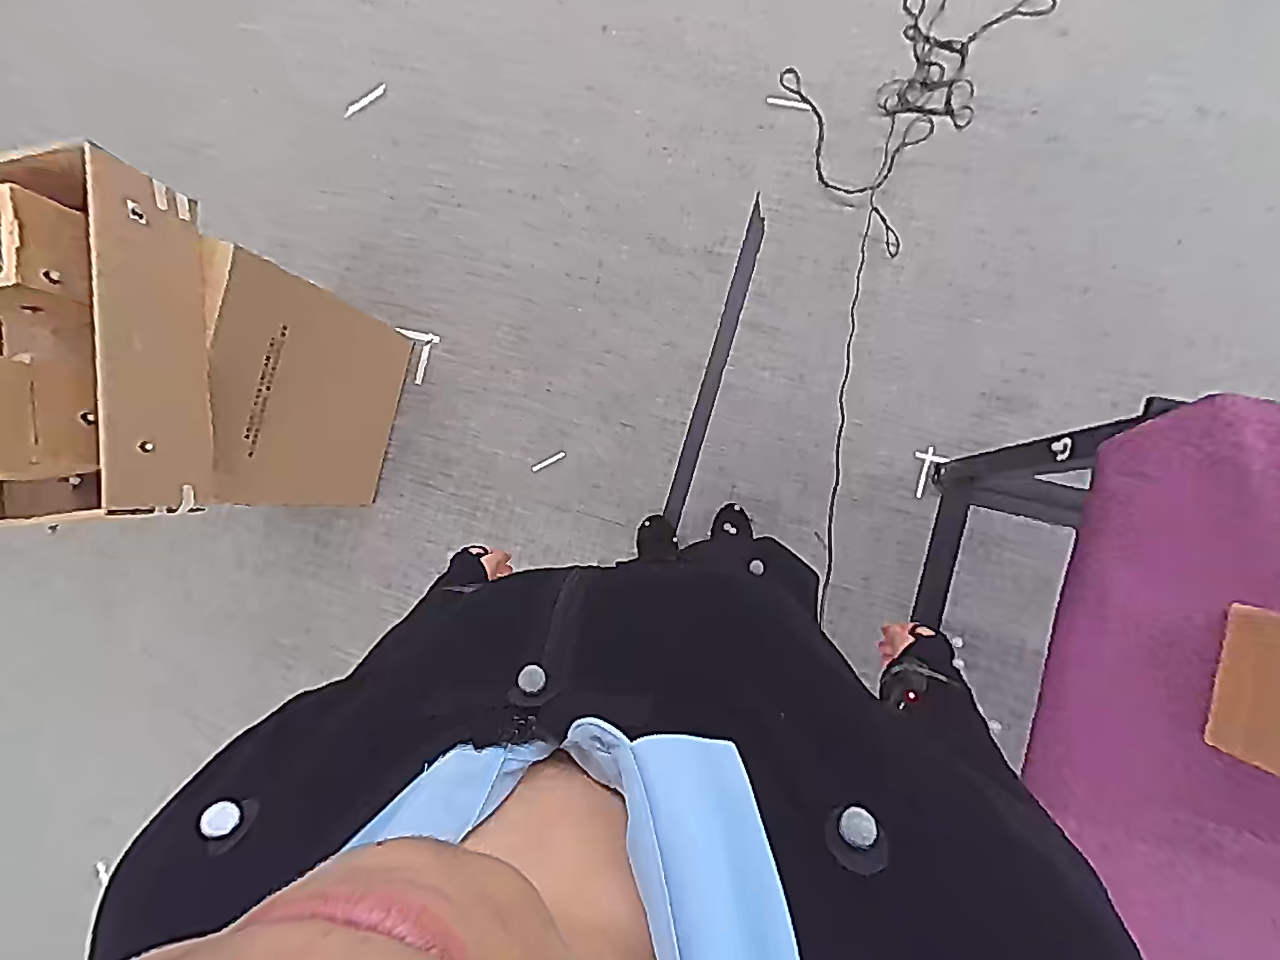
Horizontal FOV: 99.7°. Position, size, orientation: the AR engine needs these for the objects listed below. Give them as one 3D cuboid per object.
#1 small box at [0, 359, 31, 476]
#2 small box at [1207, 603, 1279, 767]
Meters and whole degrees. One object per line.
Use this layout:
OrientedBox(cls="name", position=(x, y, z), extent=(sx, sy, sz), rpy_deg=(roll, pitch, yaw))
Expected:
OrientedBox(cls="small box", position=(-1.023, -0.098, 0.758), extent=(0.168, 0.176, 0.179), rpy_deg=(-2, 87, 7))
OrientedBox(cls="small box", position=(0.775, 0.242, 0.577), extent=(0.168, 0.176, 0.179), rpy_deg=(12, 89, 9))
